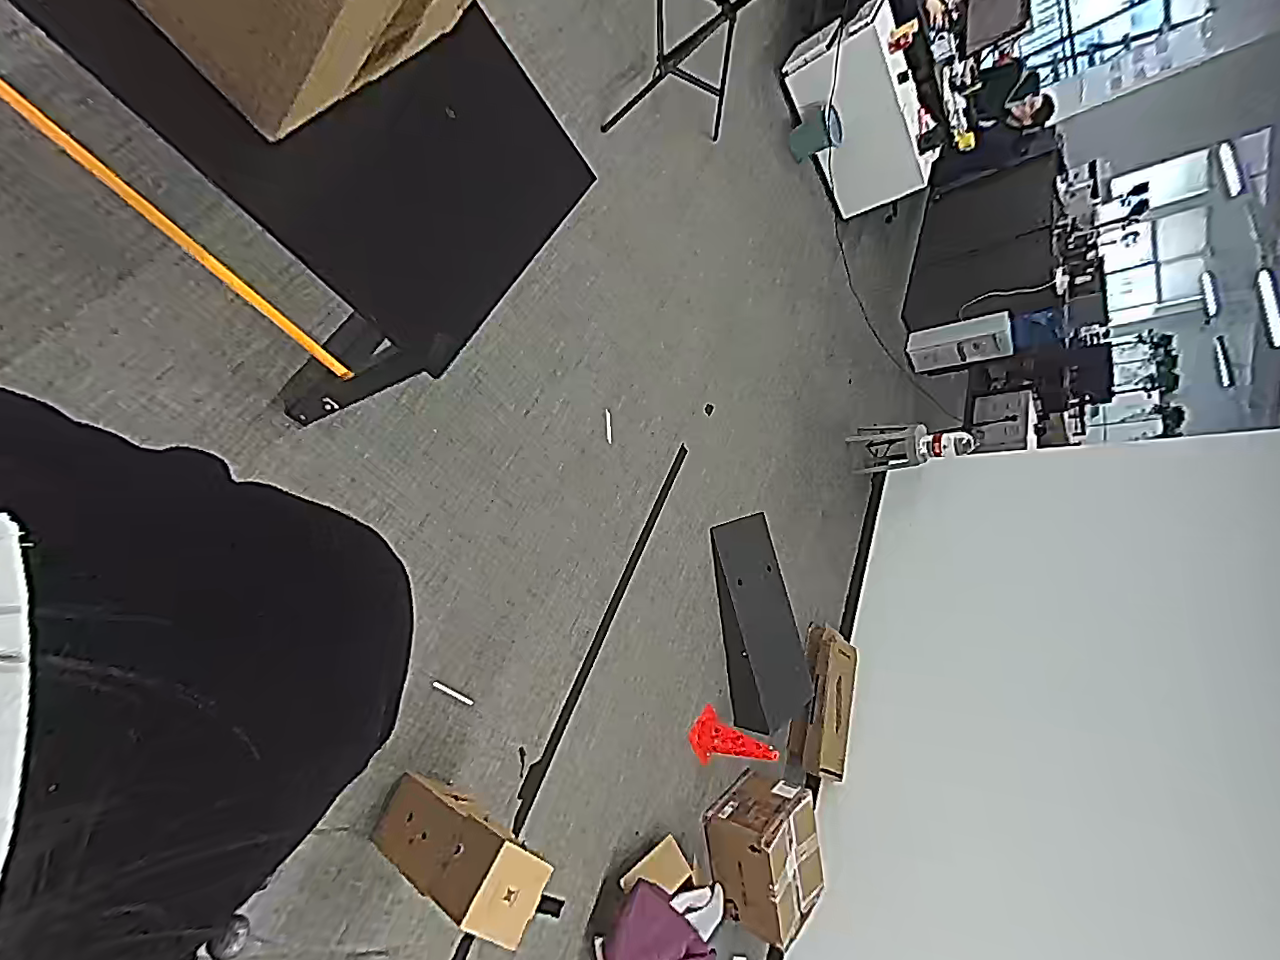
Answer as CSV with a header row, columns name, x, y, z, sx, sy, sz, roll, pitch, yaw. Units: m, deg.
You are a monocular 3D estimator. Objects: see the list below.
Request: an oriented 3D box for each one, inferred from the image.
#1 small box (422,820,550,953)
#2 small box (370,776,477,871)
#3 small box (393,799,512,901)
name,x,y,z,sx,sy,sz,roll,pitch,yaw
small box,-0.341,0.892,1.201,0.179,0.176,0.168,52,52,-29
small box,-0.575,0.912,1.430,0.168,0.176,0.179,44,57,-35
small box,-0.456,0.907,1.316,0.179,0.176,0.168,47,55,-33
